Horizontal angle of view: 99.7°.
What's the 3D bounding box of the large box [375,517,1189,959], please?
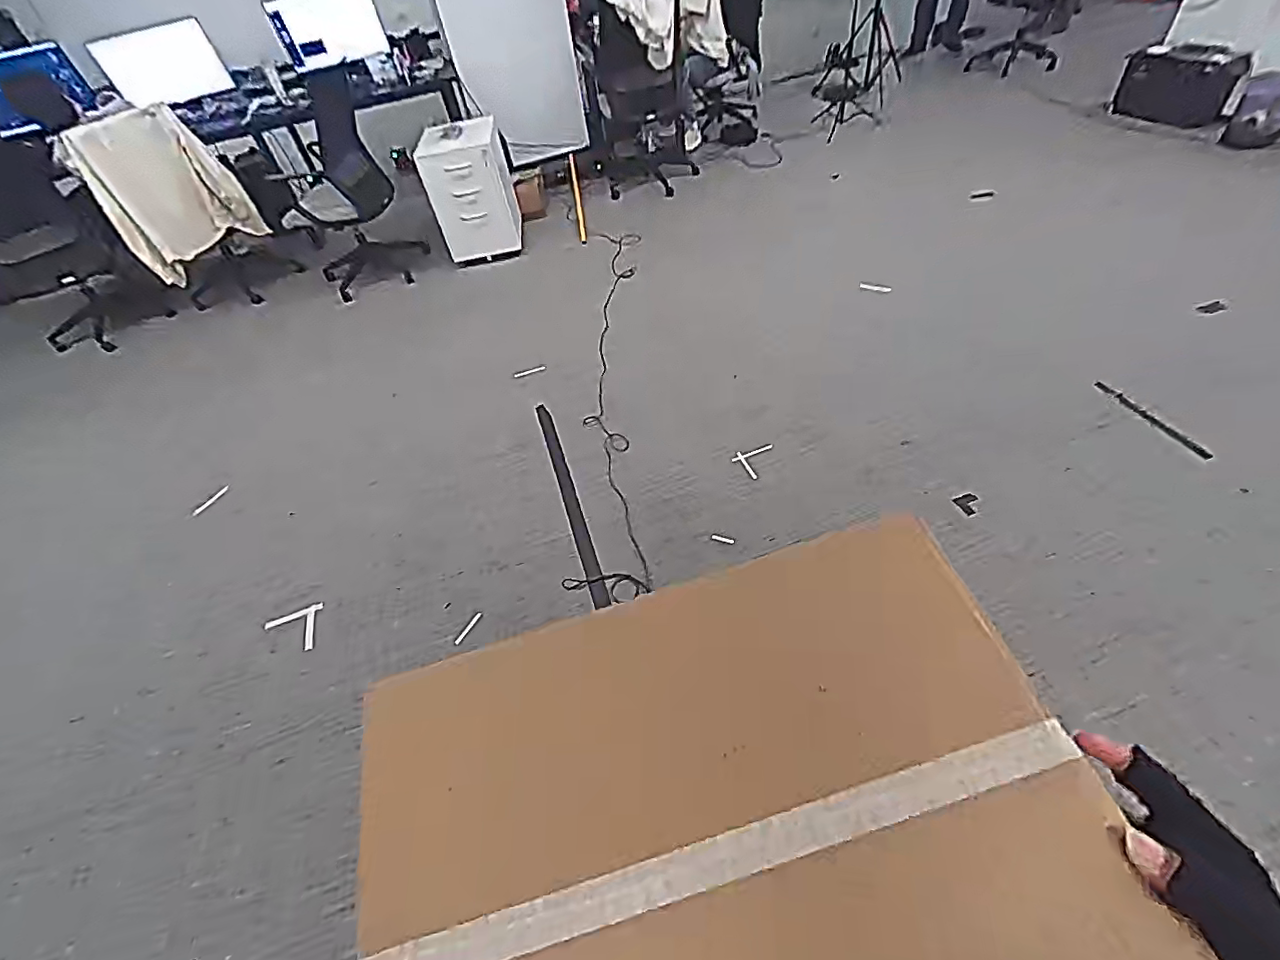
[{"bbox_3d":[0.066,0.285,0.431,0.408,0.320,0.320,-18,56,-2],"label":"large box"}]
